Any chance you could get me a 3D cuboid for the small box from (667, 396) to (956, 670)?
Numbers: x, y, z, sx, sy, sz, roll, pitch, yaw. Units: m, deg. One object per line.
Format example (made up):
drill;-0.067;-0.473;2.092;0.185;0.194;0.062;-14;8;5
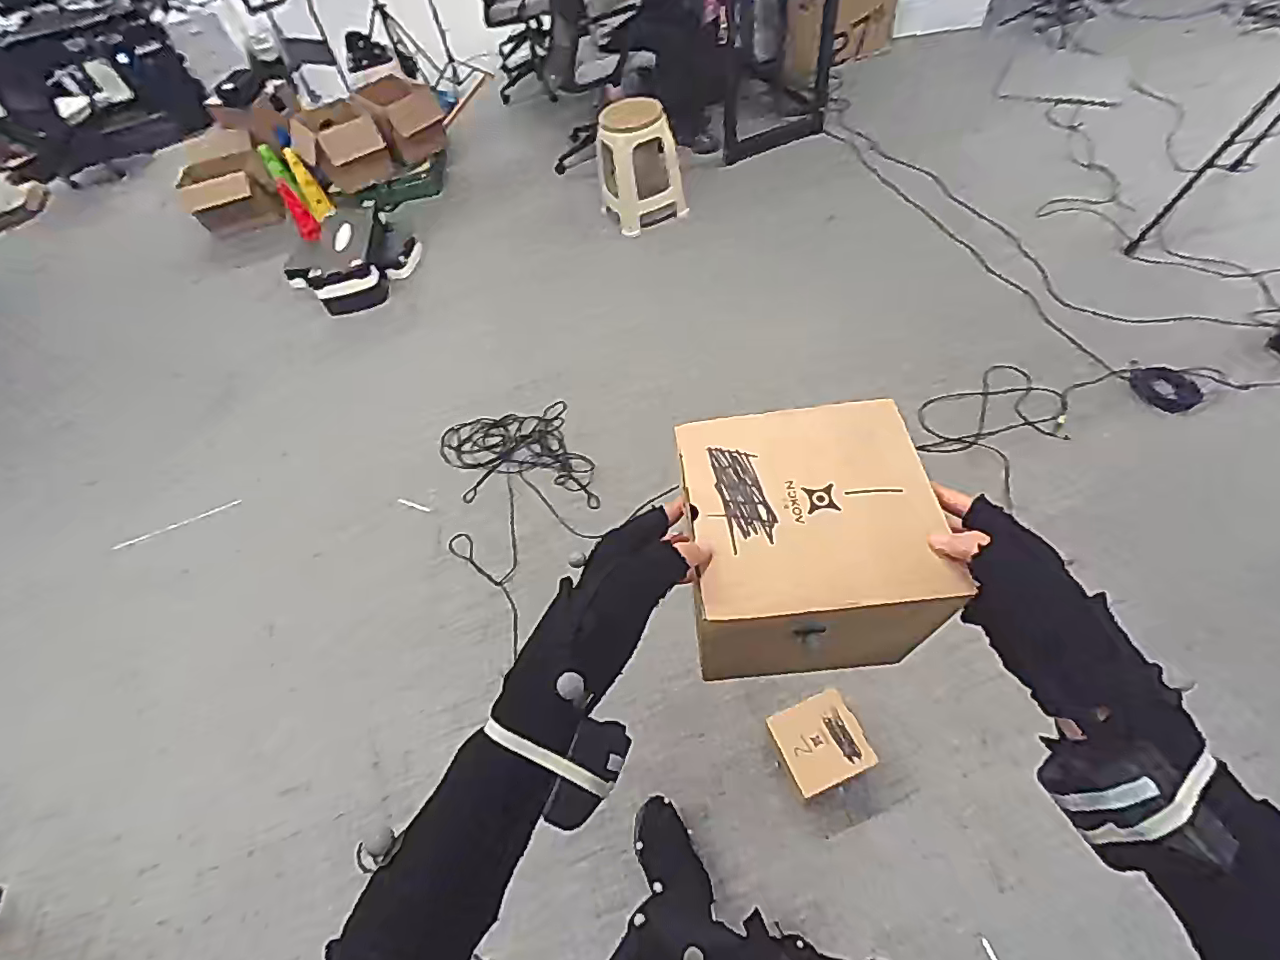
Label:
small box;0.121;0.053;0.459;0.179;0.176;0.168;-6;56;2
